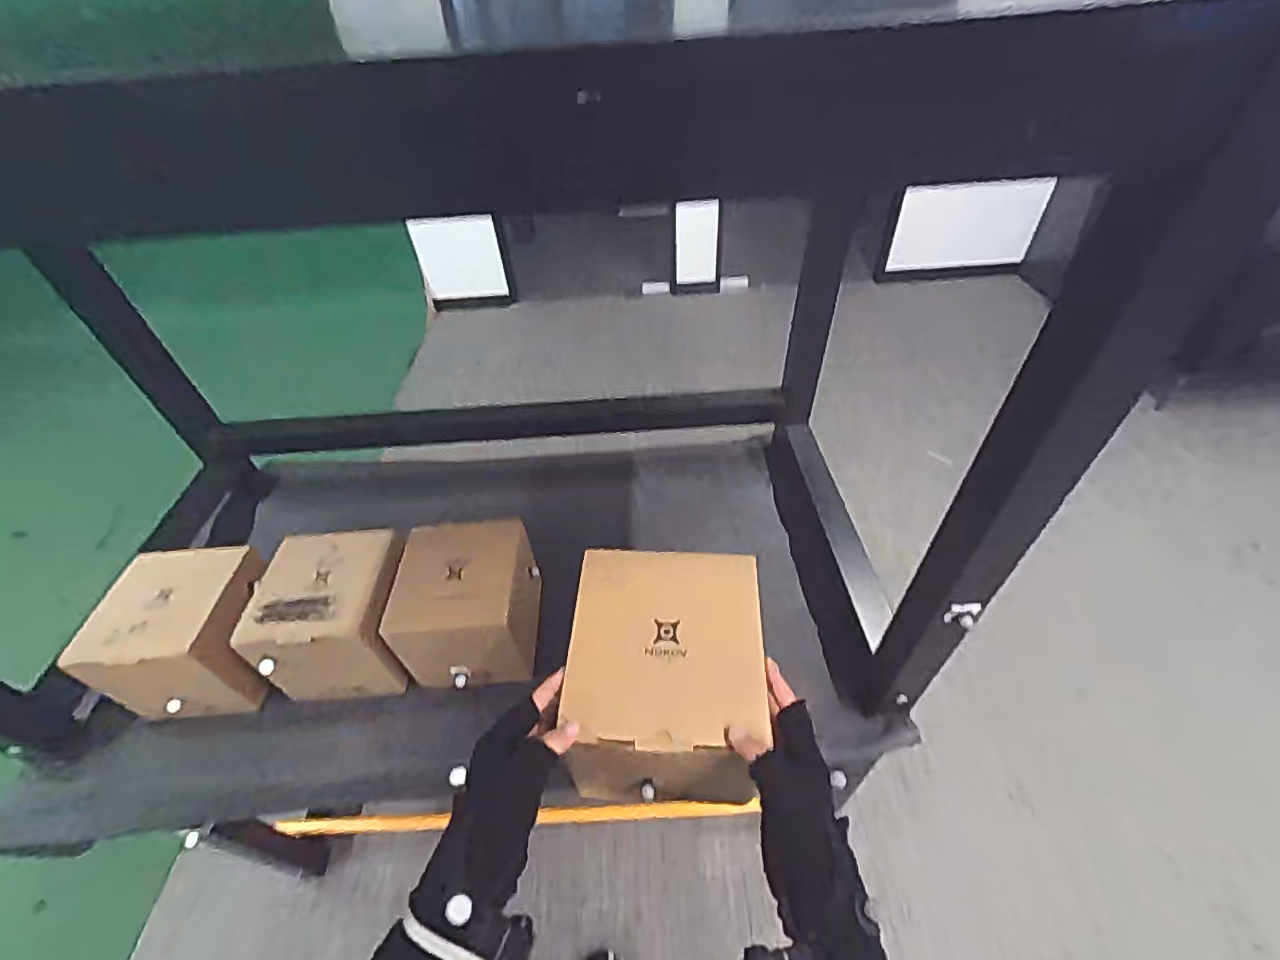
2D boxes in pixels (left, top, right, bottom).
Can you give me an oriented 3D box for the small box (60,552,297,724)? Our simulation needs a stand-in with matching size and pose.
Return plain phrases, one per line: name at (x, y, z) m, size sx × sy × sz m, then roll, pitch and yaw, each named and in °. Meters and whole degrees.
small box at (-0.636, 0.227, 0.781) m, size 0.168 × 0.176 × 0.179 m, roll -5°, pitch 44°, yaw -1°
